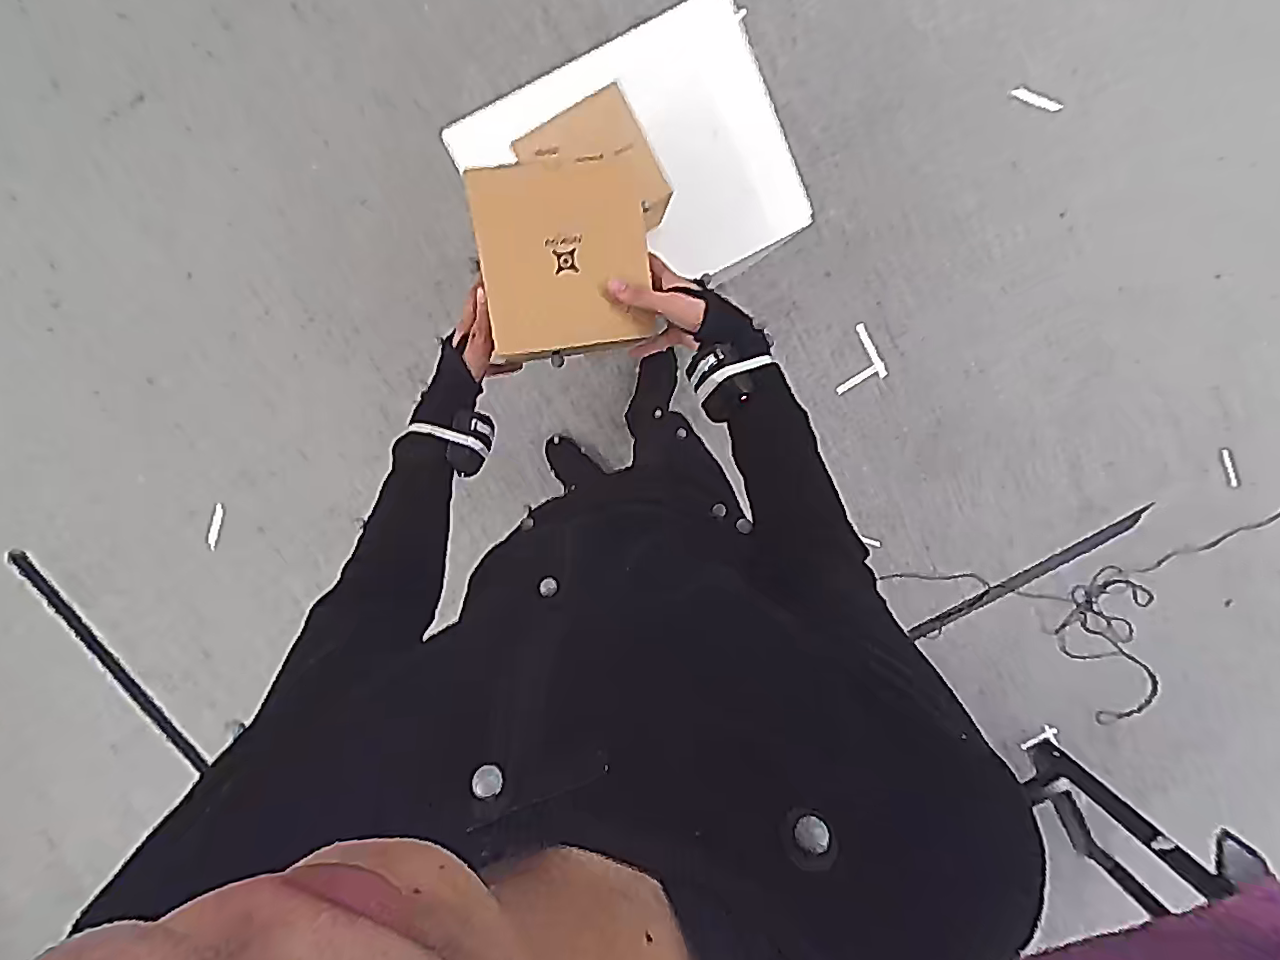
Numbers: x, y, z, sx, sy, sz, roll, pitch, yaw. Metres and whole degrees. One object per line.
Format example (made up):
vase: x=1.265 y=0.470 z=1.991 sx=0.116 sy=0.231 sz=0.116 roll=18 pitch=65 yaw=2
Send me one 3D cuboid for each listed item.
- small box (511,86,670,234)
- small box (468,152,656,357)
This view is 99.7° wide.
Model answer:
small box: x=-0.074 y=-0.451 z=0.844 sx=0.179 sy=0.176 sz=0.168 roll=-30 pitch=102 yaw=1
small box: x=-0.084 y=-0.238 z=0.613 sx=0.168 sy=0.176 sz=0.179 roll=-10 pitch=100 yaw=-7
